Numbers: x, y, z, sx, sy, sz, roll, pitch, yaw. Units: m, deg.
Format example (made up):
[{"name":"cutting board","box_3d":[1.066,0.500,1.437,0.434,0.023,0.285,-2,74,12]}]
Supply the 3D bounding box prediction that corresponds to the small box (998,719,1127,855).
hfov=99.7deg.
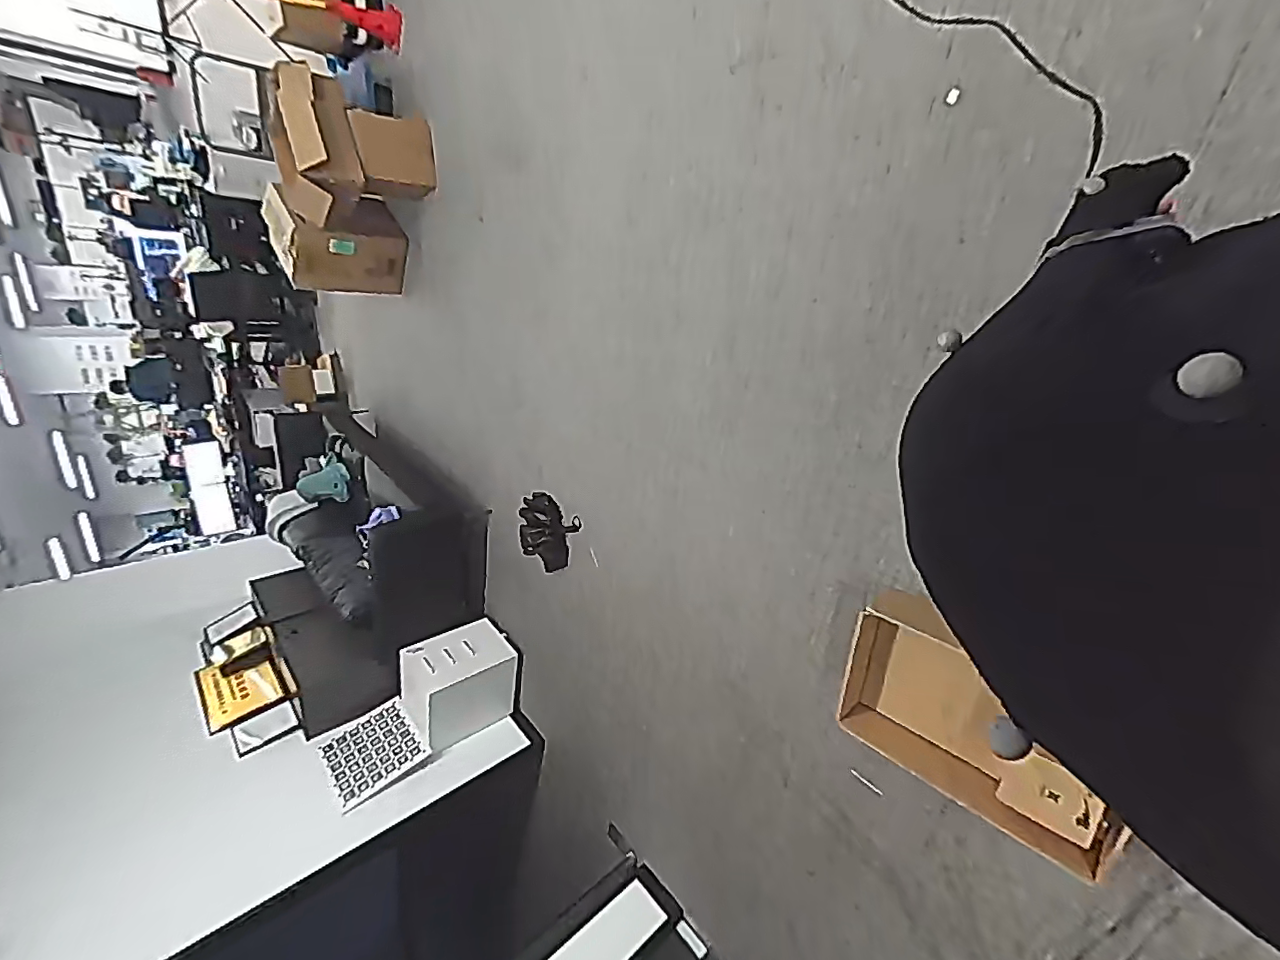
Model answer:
[{"name":"small box","box_3d":[0.941,0.668,1.207,0.179,0.176,0.168,20,116,45]}]
